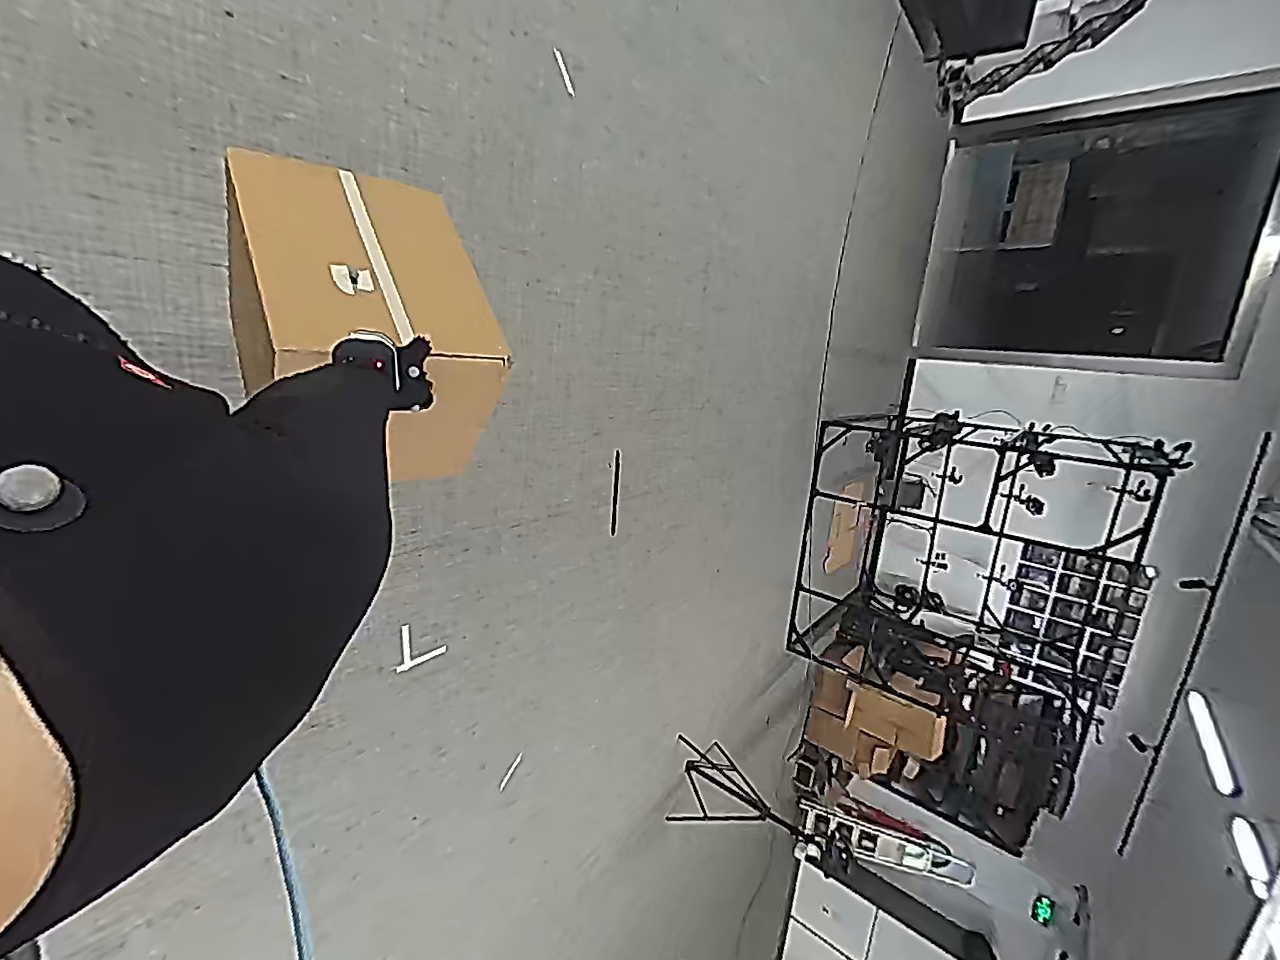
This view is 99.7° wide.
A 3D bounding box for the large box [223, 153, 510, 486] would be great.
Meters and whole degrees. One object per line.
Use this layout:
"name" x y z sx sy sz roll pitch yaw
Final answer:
"large box" -0.480 -0.248 0.916 0.320 0.408 0.320 -9 152 -41
